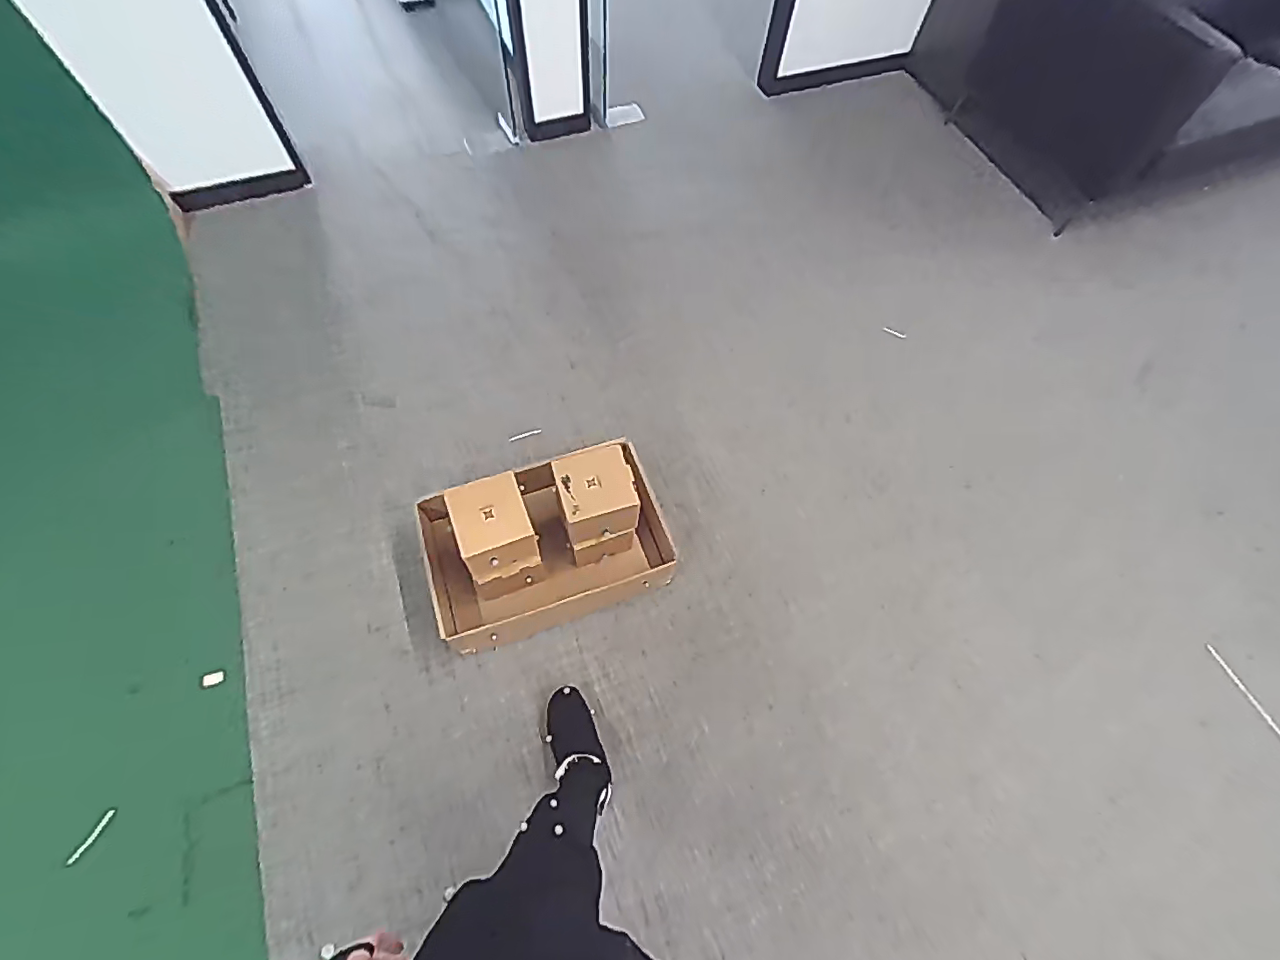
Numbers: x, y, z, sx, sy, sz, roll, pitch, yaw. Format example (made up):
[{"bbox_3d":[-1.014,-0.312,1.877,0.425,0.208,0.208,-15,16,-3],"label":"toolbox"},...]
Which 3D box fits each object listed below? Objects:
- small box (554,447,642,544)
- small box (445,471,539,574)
[{"bbox_3d":[-0.106,0.042,1.344,0.179,0.176,0.168,-15,66,-10],"label":"small box"},{"bbox_3d":[-0.349,0.111,1.300,0.168,0.176,0.179,-19,66,-14],"label":"small box"}]
